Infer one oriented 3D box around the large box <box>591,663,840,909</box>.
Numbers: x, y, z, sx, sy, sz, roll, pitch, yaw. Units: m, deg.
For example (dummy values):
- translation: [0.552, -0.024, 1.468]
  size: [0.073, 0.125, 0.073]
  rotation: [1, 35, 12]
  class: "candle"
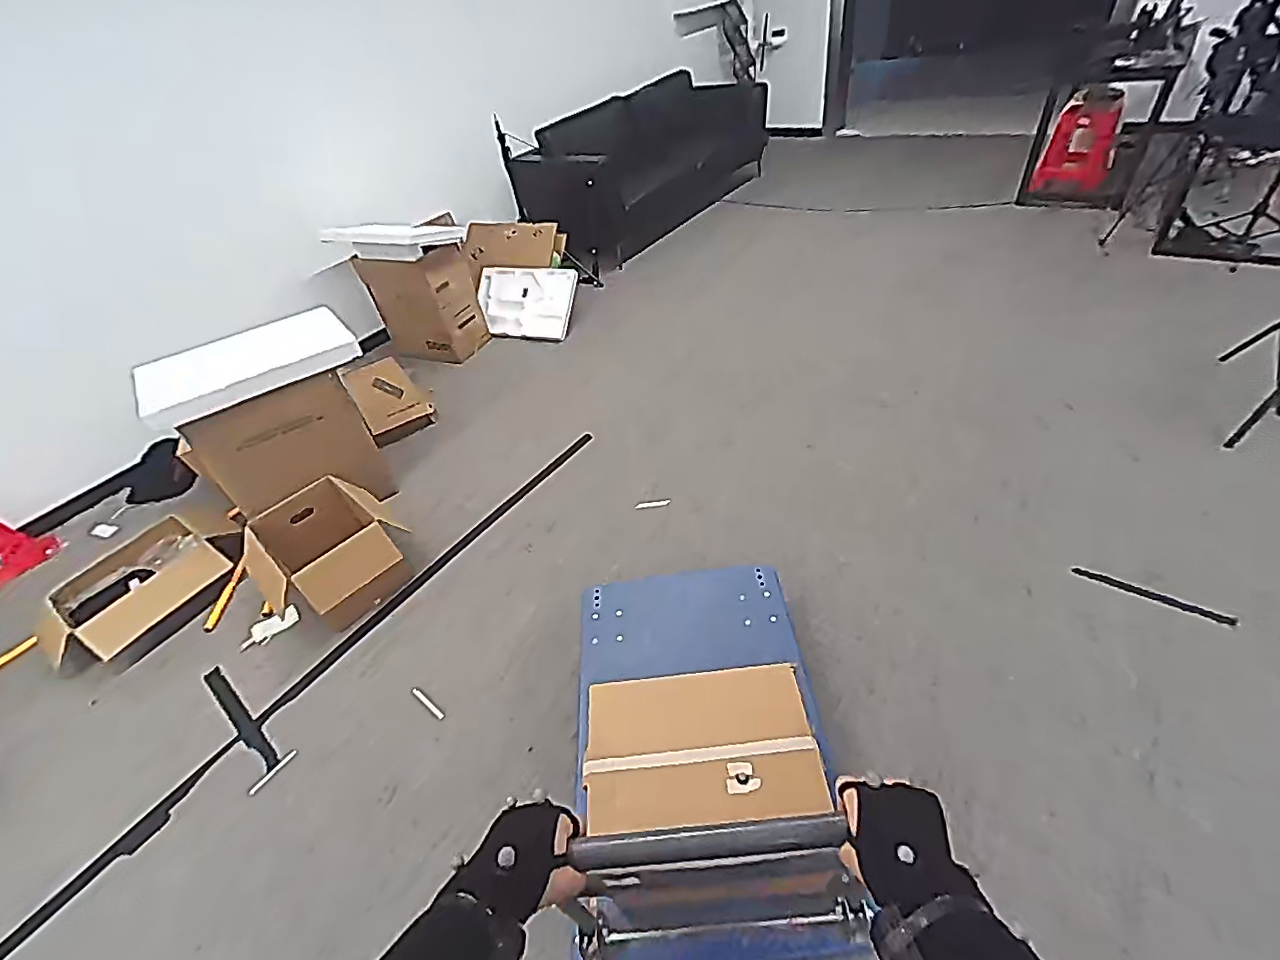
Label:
- translation: [0.125, 0.598, 1.058]
  size: [0.408, 0.320, 0.320]
  rotation: [-7, 43, 2]
  class: "large box"
